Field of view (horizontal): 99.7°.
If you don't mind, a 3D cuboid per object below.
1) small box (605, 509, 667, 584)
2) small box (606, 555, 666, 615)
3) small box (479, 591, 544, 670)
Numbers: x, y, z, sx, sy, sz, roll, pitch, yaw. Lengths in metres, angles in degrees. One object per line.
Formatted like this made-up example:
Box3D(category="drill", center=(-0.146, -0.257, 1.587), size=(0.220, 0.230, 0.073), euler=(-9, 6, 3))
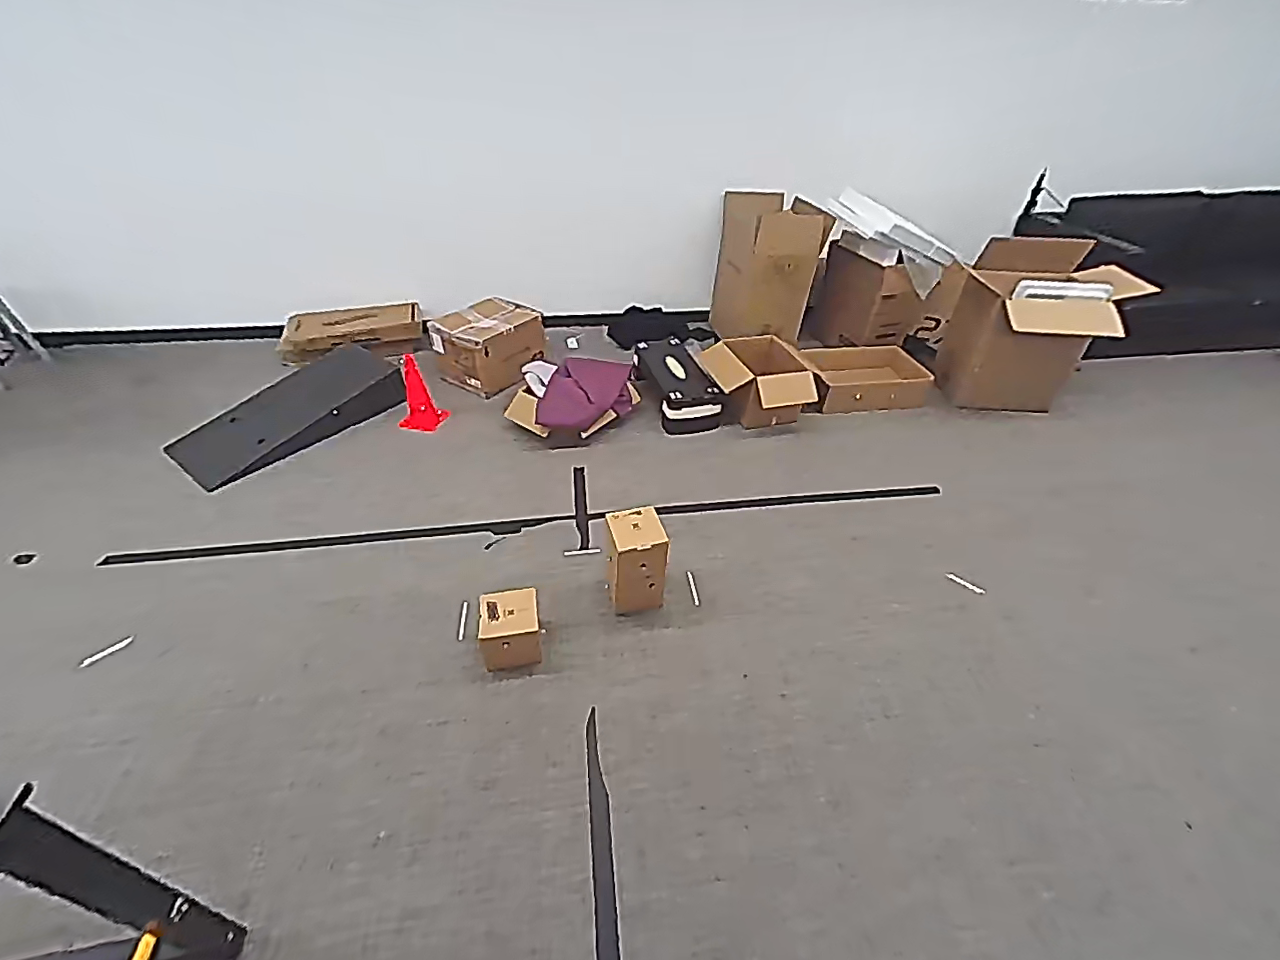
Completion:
Box3D(category="small box", center=(-0.015, 0.224, 1.767), size=(0.168, 0.176, 0.179), euler=(-9, 41, -13))
Box3D(category="small box", center=(-0.018, 0.345, 1.877), size=(0.179, 0.176, 0.168), euler=(-8, 40, -12))
Box3D(category="small box", center=(-0.401, 0.475, 1.699), size=(0.179, 0.176, 0.168), euler=(-6, 40, -10))
